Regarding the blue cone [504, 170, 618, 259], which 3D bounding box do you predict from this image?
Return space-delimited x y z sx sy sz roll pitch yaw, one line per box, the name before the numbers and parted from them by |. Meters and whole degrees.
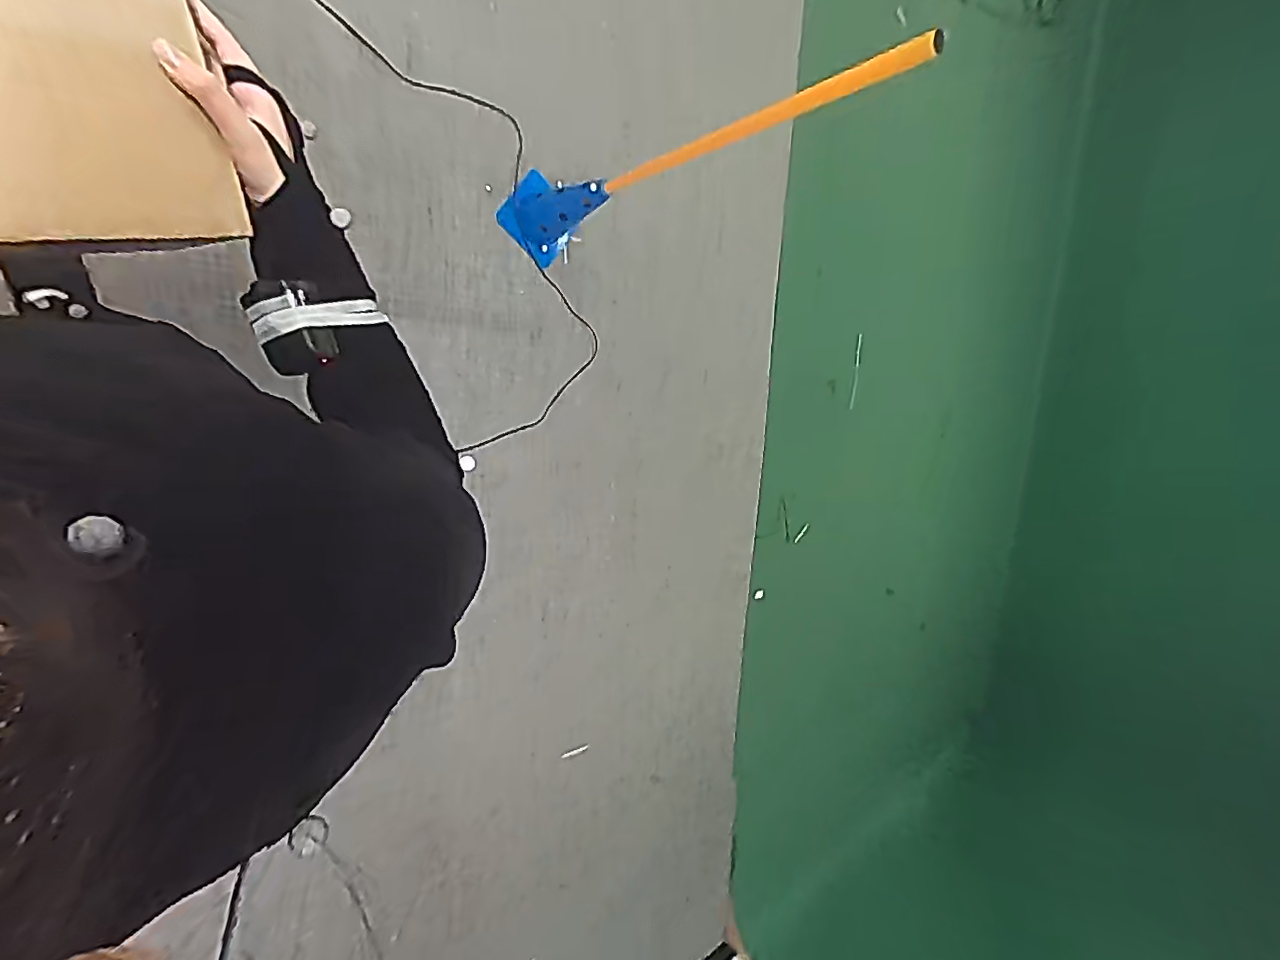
blue cone | -0.176 -0.731 1.421 0.193 0.380 0.192 38 76 -38
